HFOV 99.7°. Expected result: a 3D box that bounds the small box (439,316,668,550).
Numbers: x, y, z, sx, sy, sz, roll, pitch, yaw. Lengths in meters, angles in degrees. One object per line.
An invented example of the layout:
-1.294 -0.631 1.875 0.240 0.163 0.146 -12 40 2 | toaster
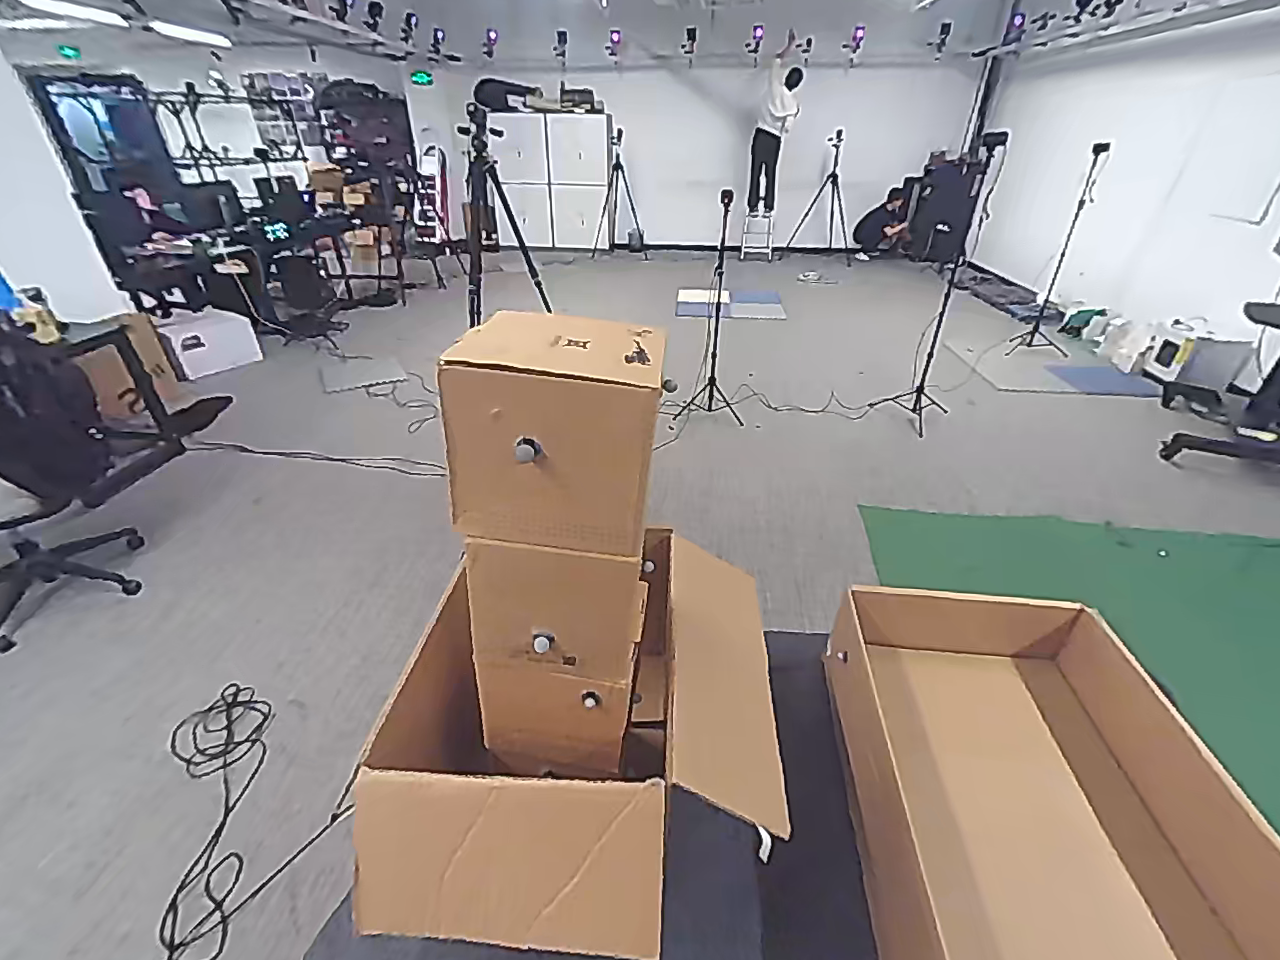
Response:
-0.070 -0.049 0.524 0.179 0.176 0.168 6 32 2 | small box

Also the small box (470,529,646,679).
-0.079 0.091 0.609 0.168 0.176 0.179 7 32 1 | small box
